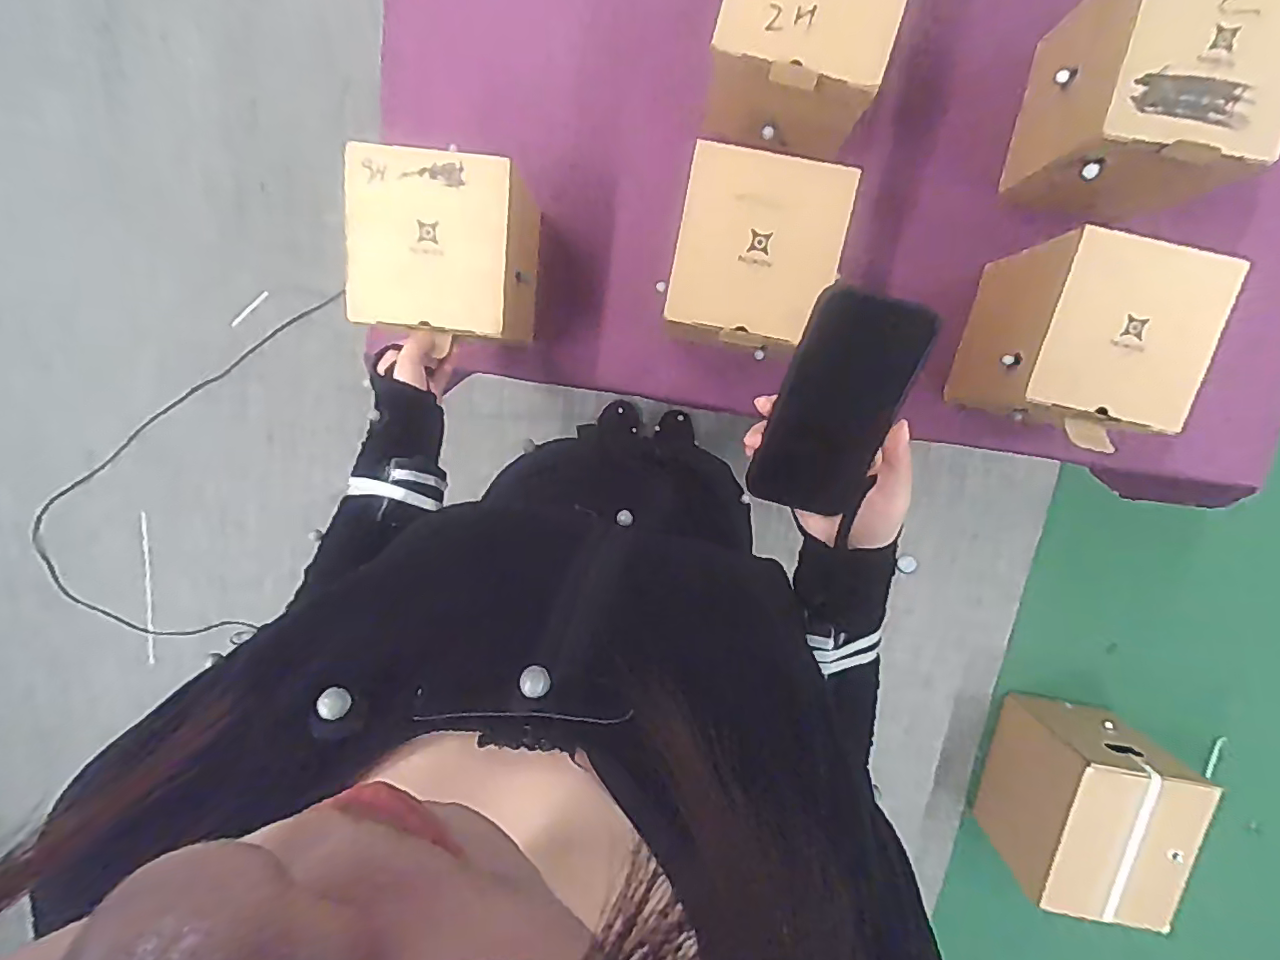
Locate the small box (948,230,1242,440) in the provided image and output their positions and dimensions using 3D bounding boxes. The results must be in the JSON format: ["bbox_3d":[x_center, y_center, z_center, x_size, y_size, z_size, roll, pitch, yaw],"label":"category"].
[{"bbox_3d":[0.491,-0.156,0.618,0.168,0.176,0.179,13,101,1],"label":"small box"}]

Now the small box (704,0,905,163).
[{"bbox_3d":[0.170,-0.479,0.577,0.168,0.176,0.179,16,101,1],"label":"small box"}]

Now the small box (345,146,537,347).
[{"bbox_3d":[-0.218,-0.253,0.631,0.168,0.176,0.179,6,101,-2],"label":"small box"}]

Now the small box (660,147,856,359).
[{"bbox_3d":[0.121,-0.242,0.623,0.168,0.176,0.179,11,99,0],"label":"small box"}]
